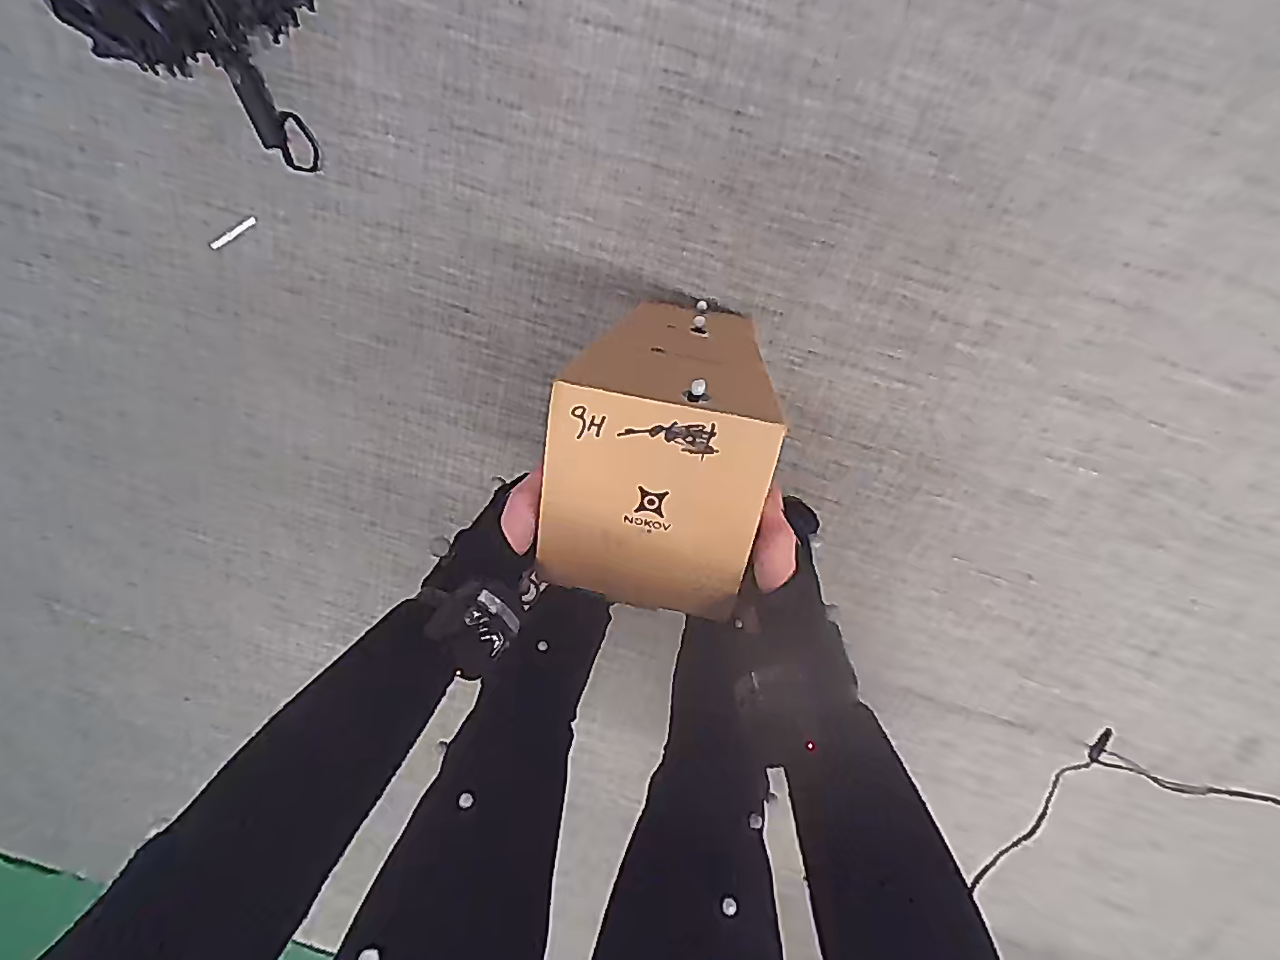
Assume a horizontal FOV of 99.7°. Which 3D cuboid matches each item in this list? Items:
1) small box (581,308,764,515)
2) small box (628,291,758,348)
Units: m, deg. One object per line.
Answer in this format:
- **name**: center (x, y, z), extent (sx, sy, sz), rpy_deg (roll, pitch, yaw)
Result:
- **small box**: center (0.037, -0.086, 0.621), extent (0.168, 0.176, 0.179), rpy_deg (10, 116, 3)
- **small box**: center (0.065, -0.155, 0.764), extent (0.168, 0.176, 0.179), rpy_deg (12, 117, 4)
